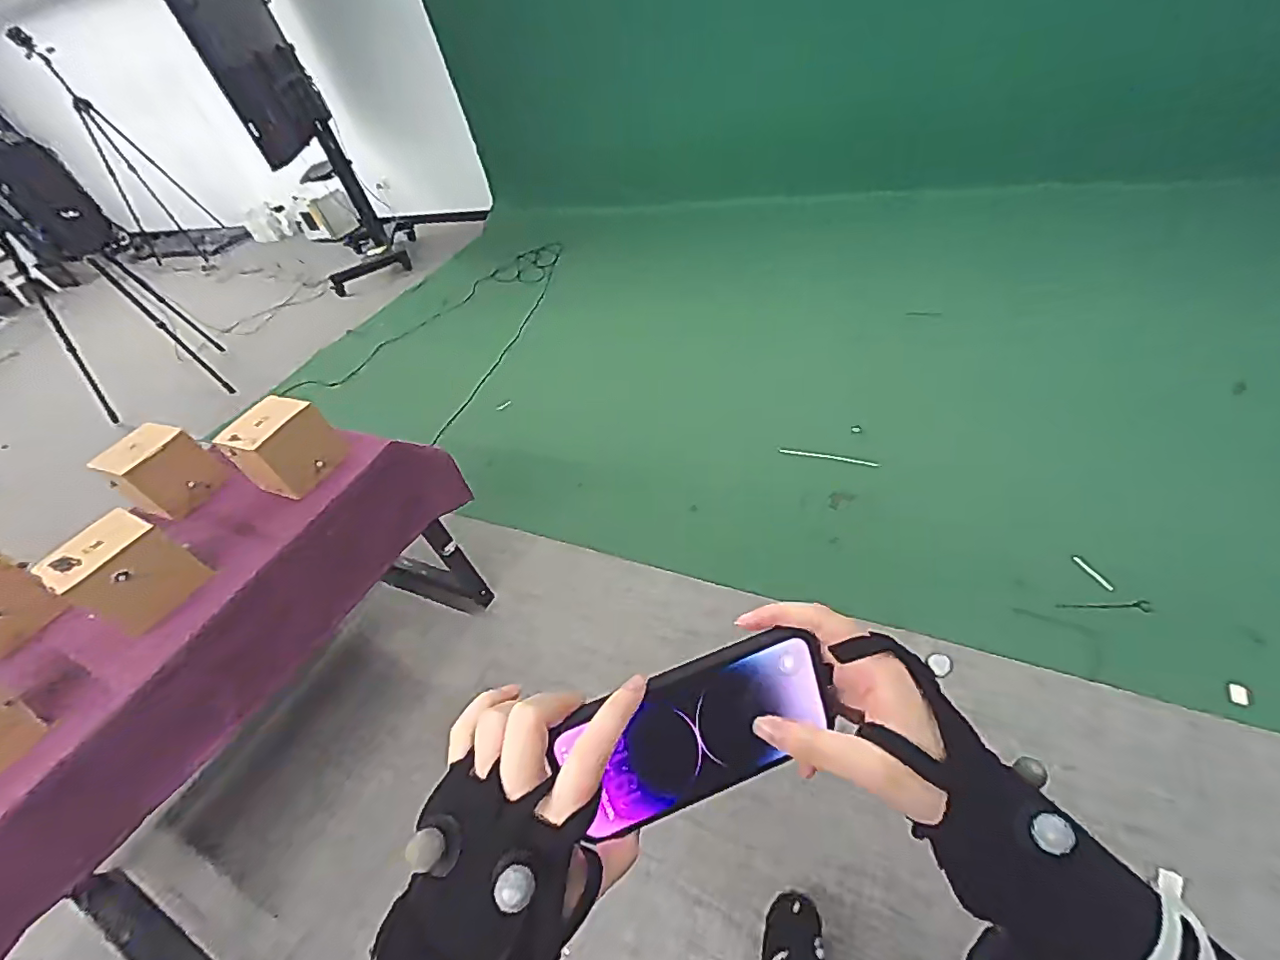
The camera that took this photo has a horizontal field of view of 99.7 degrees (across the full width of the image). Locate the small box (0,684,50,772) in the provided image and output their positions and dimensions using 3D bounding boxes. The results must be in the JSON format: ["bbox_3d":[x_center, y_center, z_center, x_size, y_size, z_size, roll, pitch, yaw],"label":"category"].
[{"bbox_3d":[-1.184,0.435,0.909,0.168,0.176,0.179,12,50,27],"label":"small box"}]

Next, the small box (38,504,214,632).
[{"bbox_3d":[-1.048,0.183,1.116,0.168,0.176,0.179,14,51,28],"label":"small box"}]

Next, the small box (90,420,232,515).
[{"bbox_3d":[-1.203,-0.030,1.370,0.179,0.176,0.168,10,50,24],"label":"small box"}]

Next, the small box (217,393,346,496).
[{"bbox_3d":[-0.864,-0.088,1.329,0.168,0.176,0.179,10,50,26],"label":"small box"}]
